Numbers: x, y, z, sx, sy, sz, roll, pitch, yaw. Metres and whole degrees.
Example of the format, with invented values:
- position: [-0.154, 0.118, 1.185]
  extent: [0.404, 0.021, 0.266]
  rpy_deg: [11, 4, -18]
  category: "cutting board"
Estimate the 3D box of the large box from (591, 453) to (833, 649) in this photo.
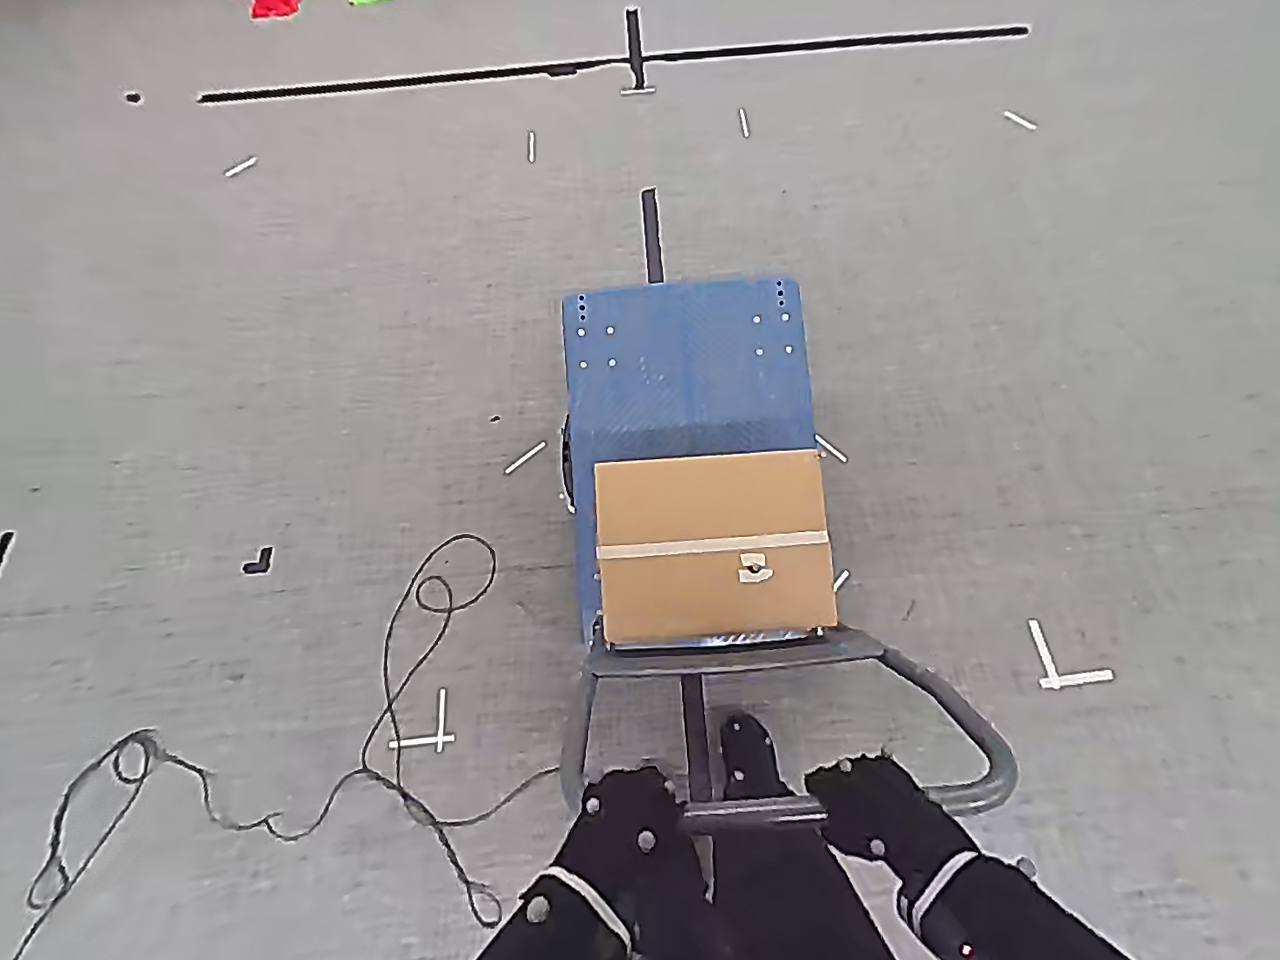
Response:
- position: [0.121, 0.135, 1.089]
  extent: [0.408, 0.320, 0.320]
  rpy_deg: [-4, 86, -1]
  category: "large box"
